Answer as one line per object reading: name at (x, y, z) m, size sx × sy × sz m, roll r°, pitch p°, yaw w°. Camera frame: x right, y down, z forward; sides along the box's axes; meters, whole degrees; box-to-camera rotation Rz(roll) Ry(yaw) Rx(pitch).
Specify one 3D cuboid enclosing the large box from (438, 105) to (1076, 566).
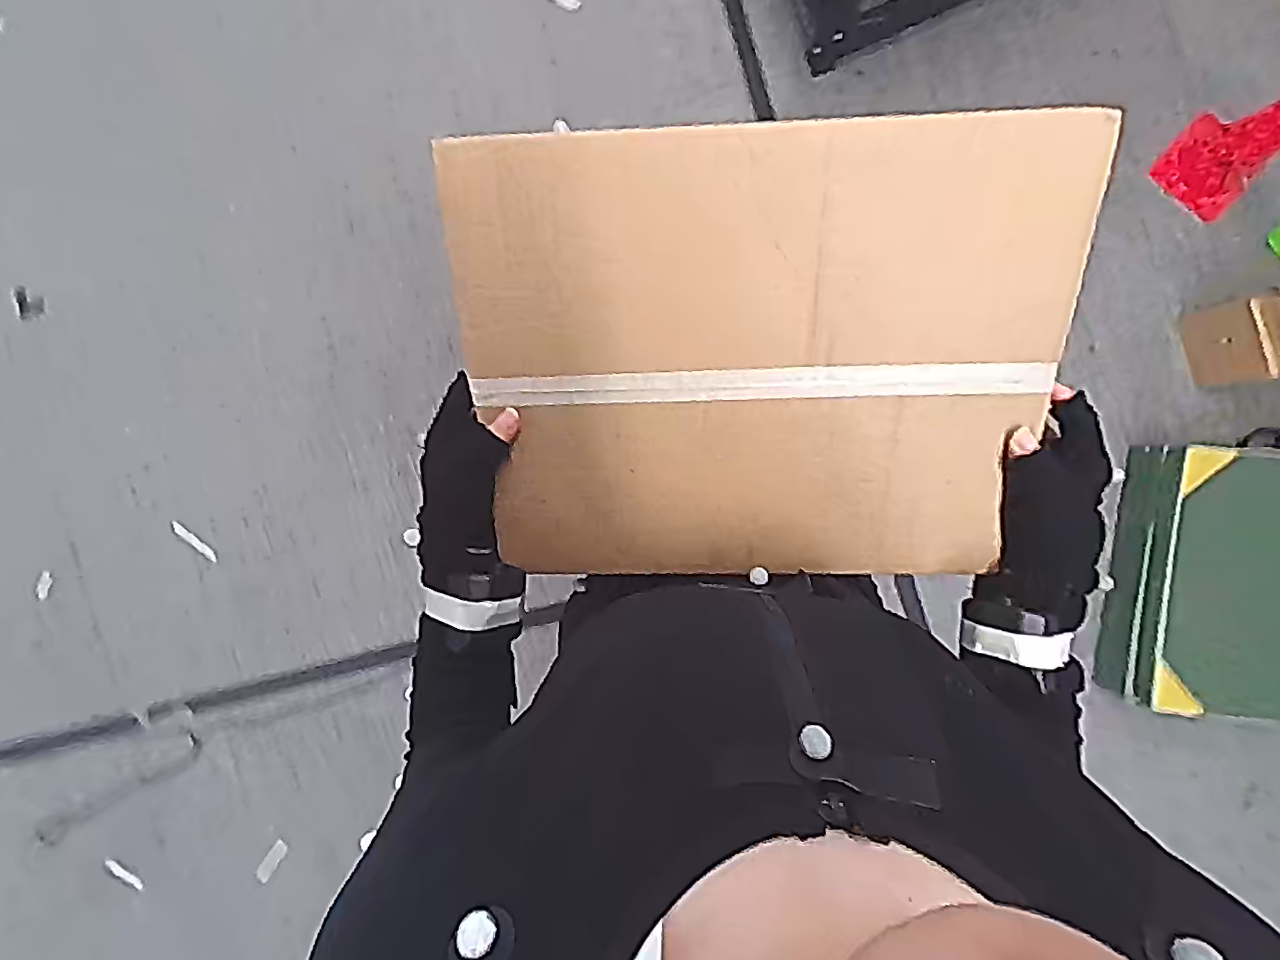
large box at (0.079, -0.133, 0.529) m, size 0.408 × 0.320 × 0.320 m, roll -2°, pitch 114°, yaw 3°
